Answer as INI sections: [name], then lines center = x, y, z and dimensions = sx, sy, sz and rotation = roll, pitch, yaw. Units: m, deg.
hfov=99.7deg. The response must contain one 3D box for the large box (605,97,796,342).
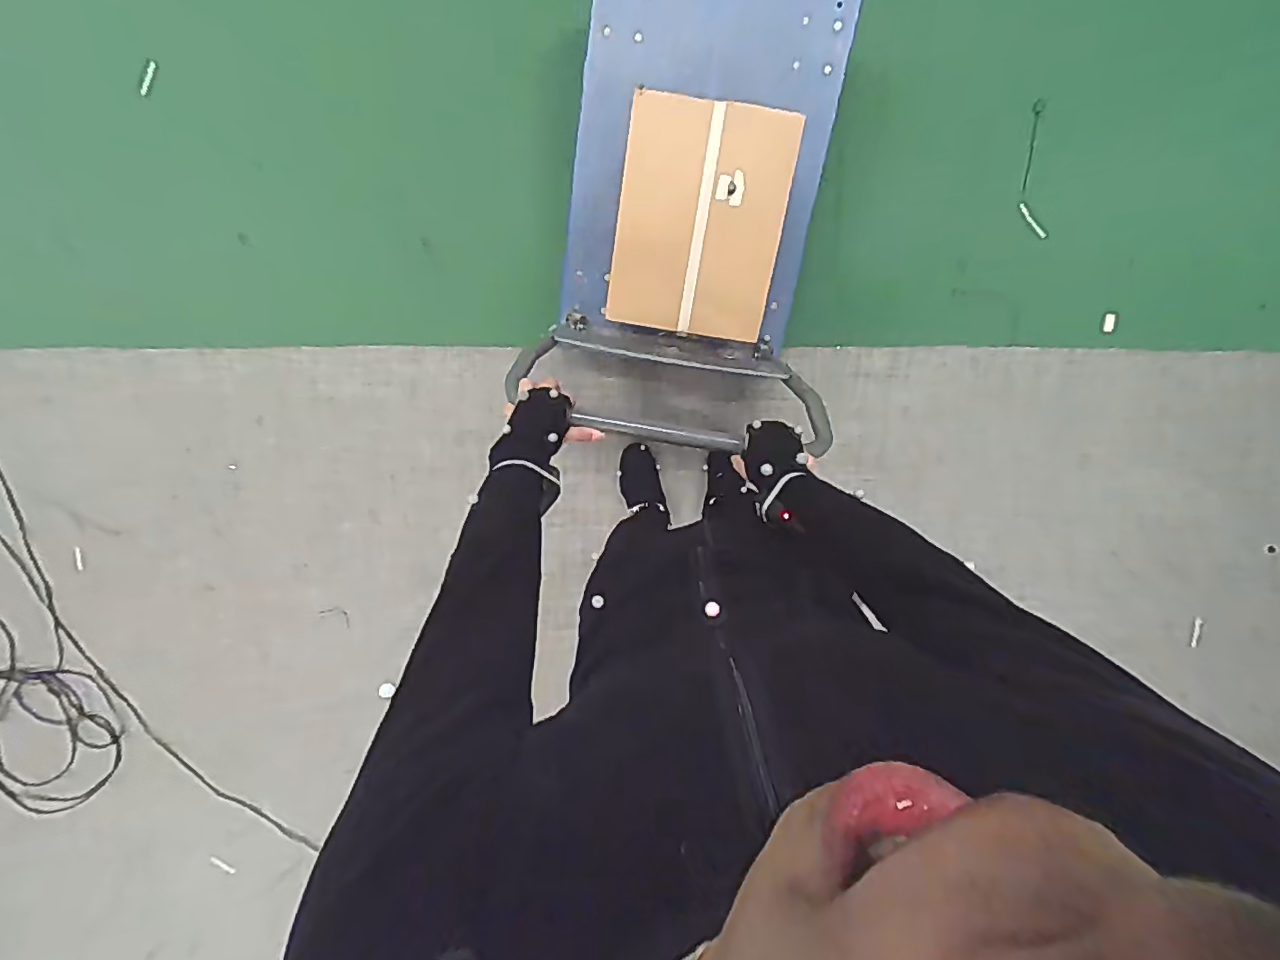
[large box]
center = 0.115, -0.530, 1.181
dimensions = 0.320, 0.320, 0.408
rotation = 9, 107, -1
